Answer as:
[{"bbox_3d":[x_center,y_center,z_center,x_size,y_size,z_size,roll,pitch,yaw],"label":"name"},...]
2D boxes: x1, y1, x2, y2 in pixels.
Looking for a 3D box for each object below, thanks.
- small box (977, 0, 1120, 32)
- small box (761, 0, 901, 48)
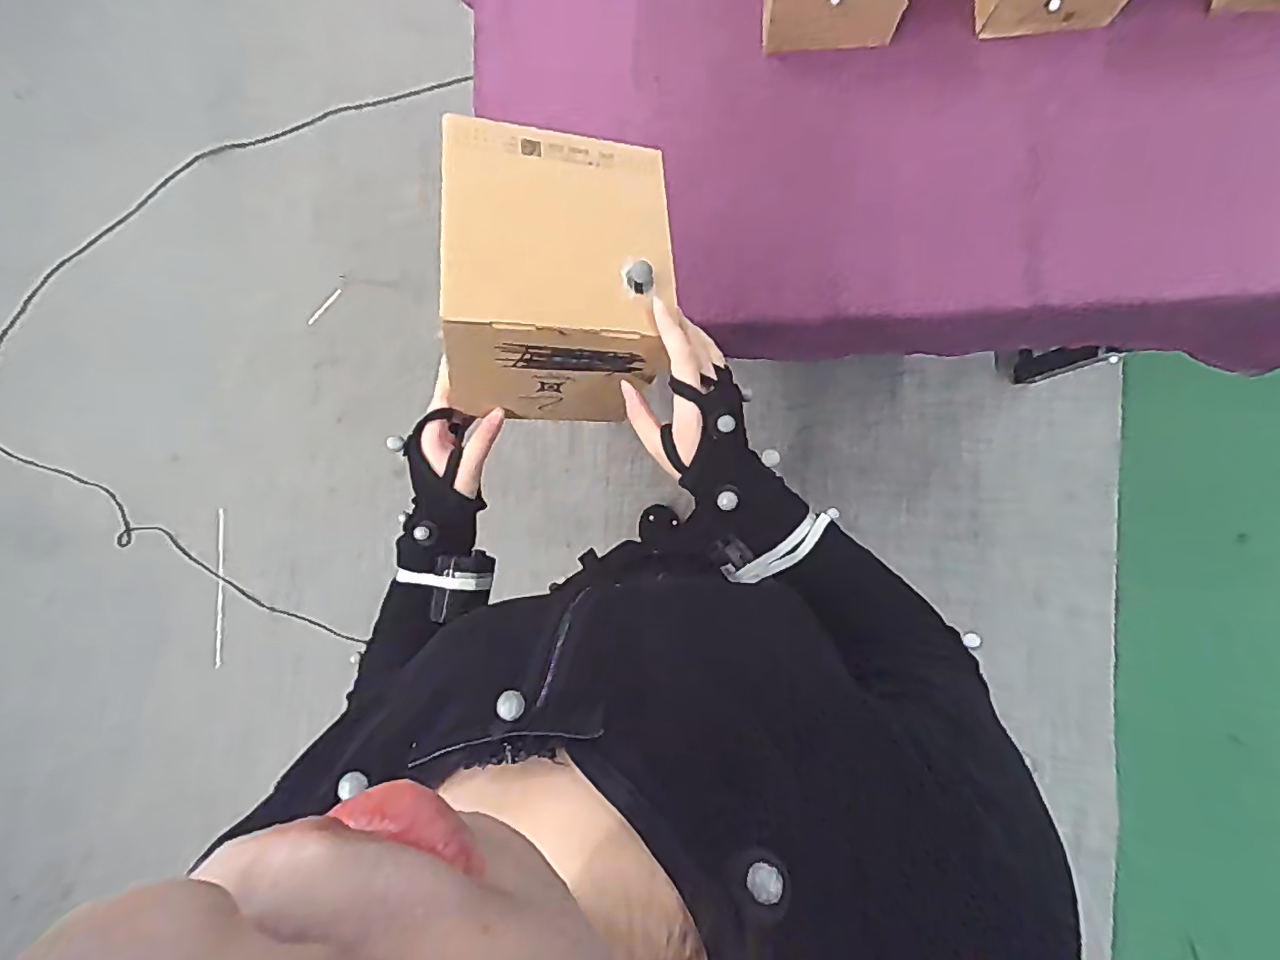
[{"bbox_3d":[0.534,-0.700,0.654,0.168,0.176,0.179,-1,91,6],"label":"small box"},{"bbox_3d":[0.253,-0.693,0.684,0.179,0.176,0.168,1,90,7],"label":"small box"}]
